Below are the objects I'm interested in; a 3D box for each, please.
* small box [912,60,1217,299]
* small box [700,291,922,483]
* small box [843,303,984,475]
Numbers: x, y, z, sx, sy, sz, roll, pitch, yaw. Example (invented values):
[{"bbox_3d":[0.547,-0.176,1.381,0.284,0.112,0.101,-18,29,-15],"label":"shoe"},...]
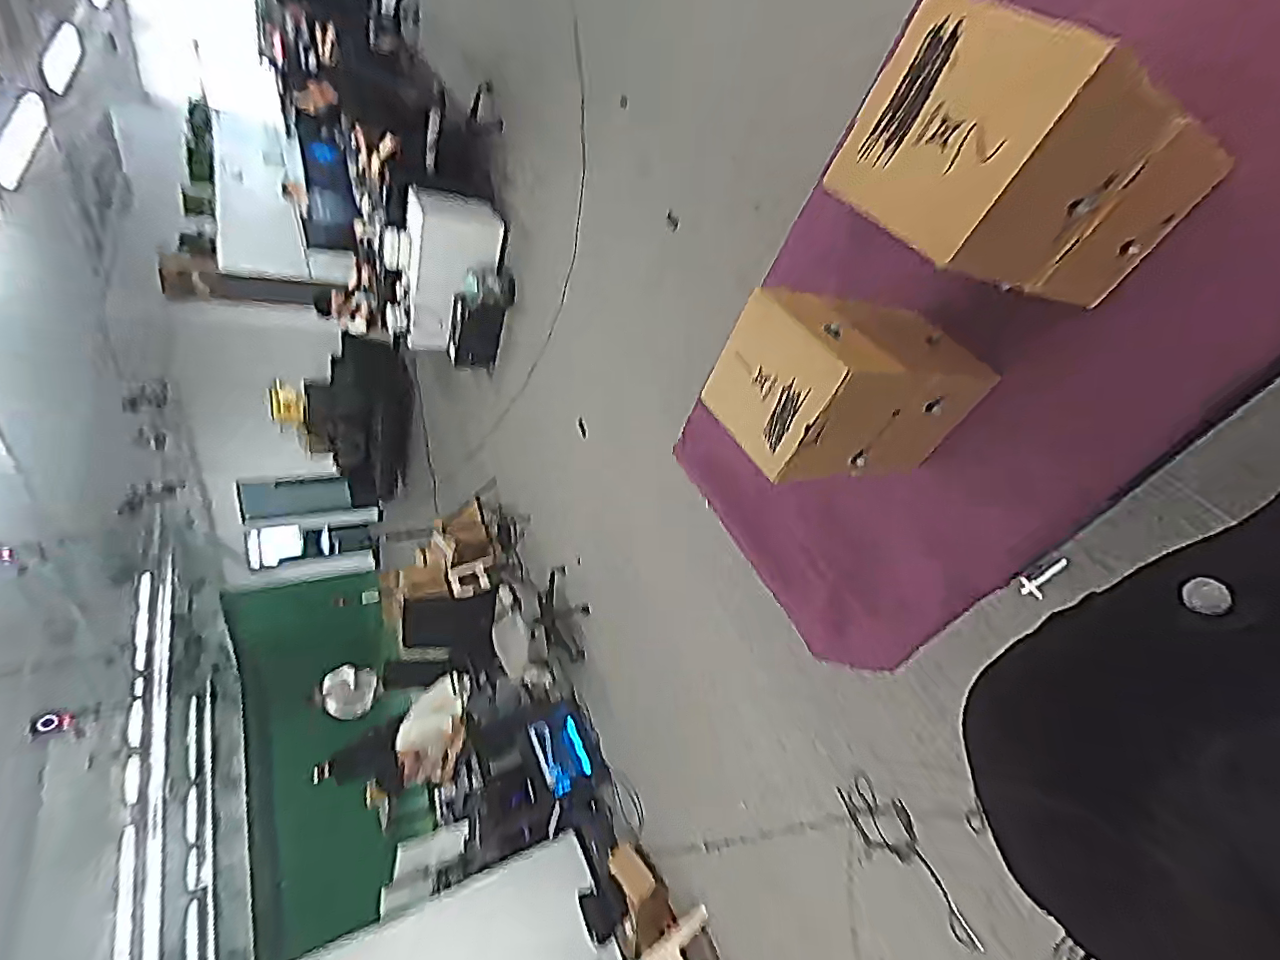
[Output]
[{"bbox_3d":[0.456,-0.317,0.596,0.179,0.176,0.168,59,139,33],"label":"small box"},{"bbox_3d":[0.214,-0.120,0.693,0.179,0.176,0.168,58,138,35],"label":"small box"},{"bbox_3d":[0.353,-0.129,0.780,0.168,0.176,0.179,59,139,33],"label":"small box"}]
